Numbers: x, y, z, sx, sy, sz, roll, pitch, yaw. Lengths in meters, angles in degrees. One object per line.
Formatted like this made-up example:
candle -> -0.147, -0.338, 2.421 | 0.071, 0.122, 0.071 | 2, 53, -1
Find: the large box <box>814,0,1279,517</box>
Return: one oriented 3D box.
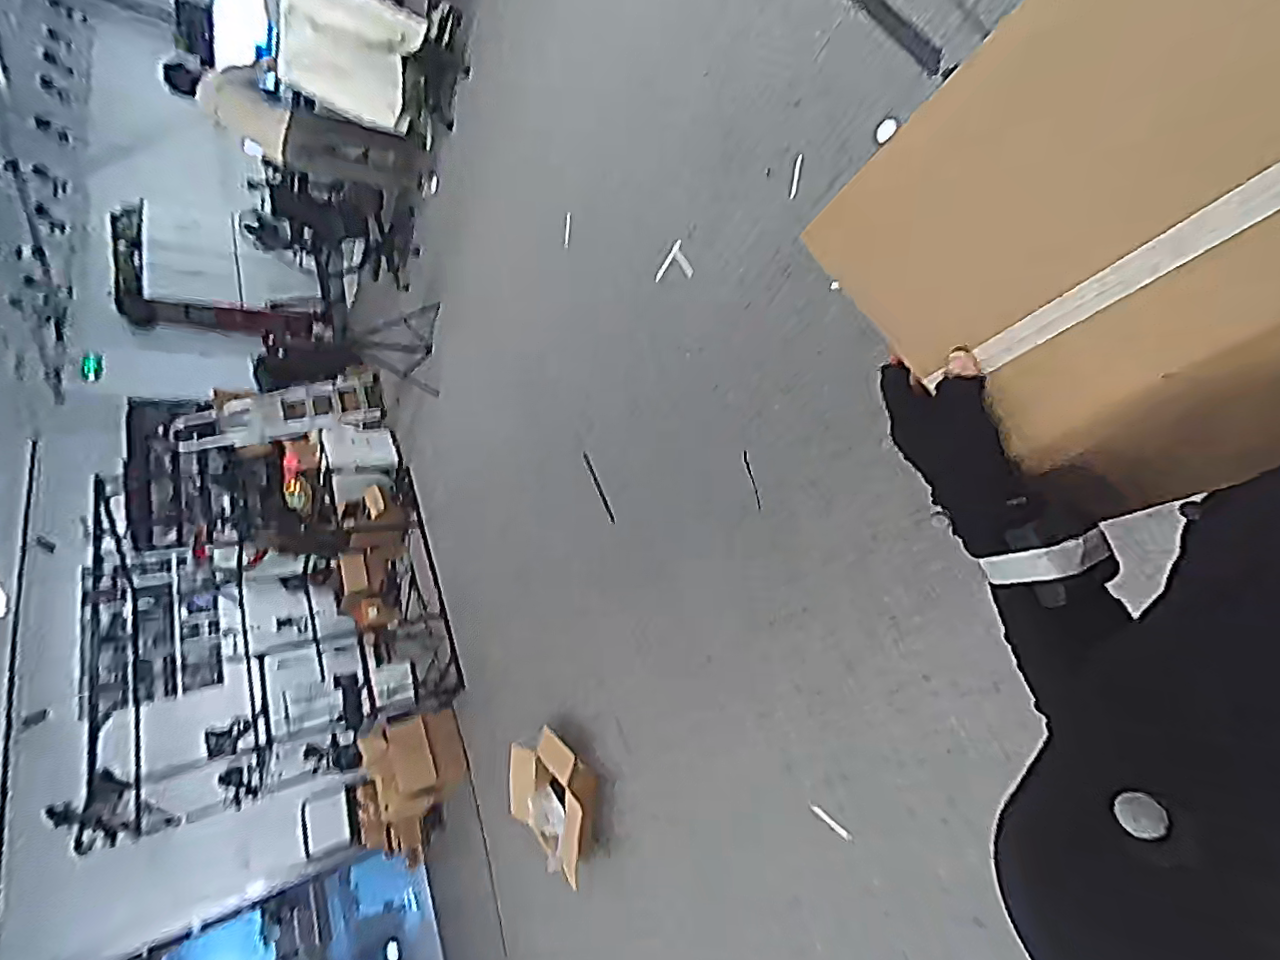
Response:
large box -> 0.411, -0.239, 0.373 | 0.320, 0.320, 0.408 | 47, 142, -3
